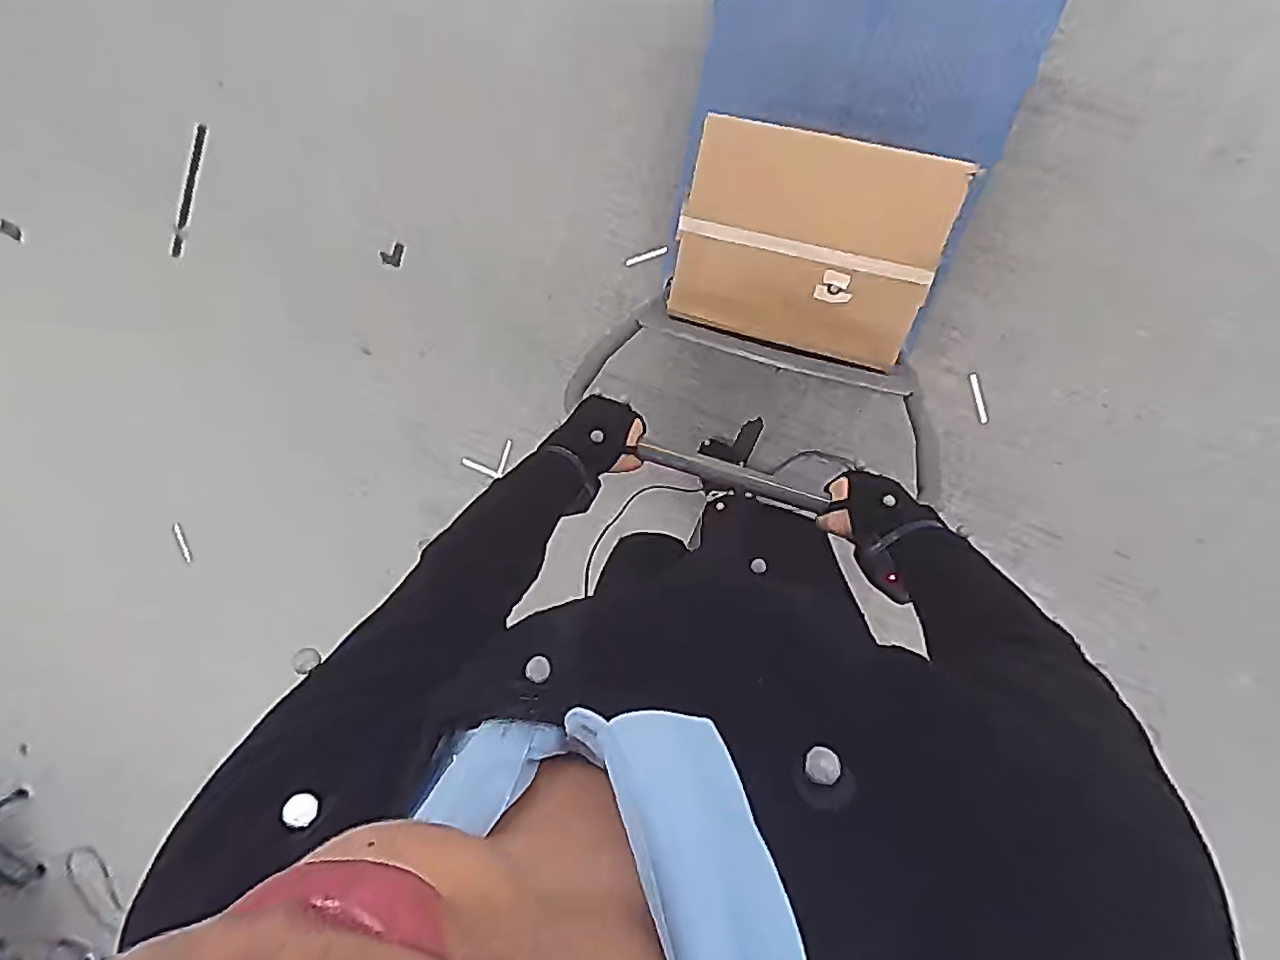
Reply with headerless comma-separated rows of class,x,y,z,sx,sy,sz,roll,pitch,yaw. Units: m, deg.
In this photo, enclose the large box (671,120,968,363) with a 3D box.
large box,0.306,-0.447,1.021,0.408,0.320,0.320,17,120,8
